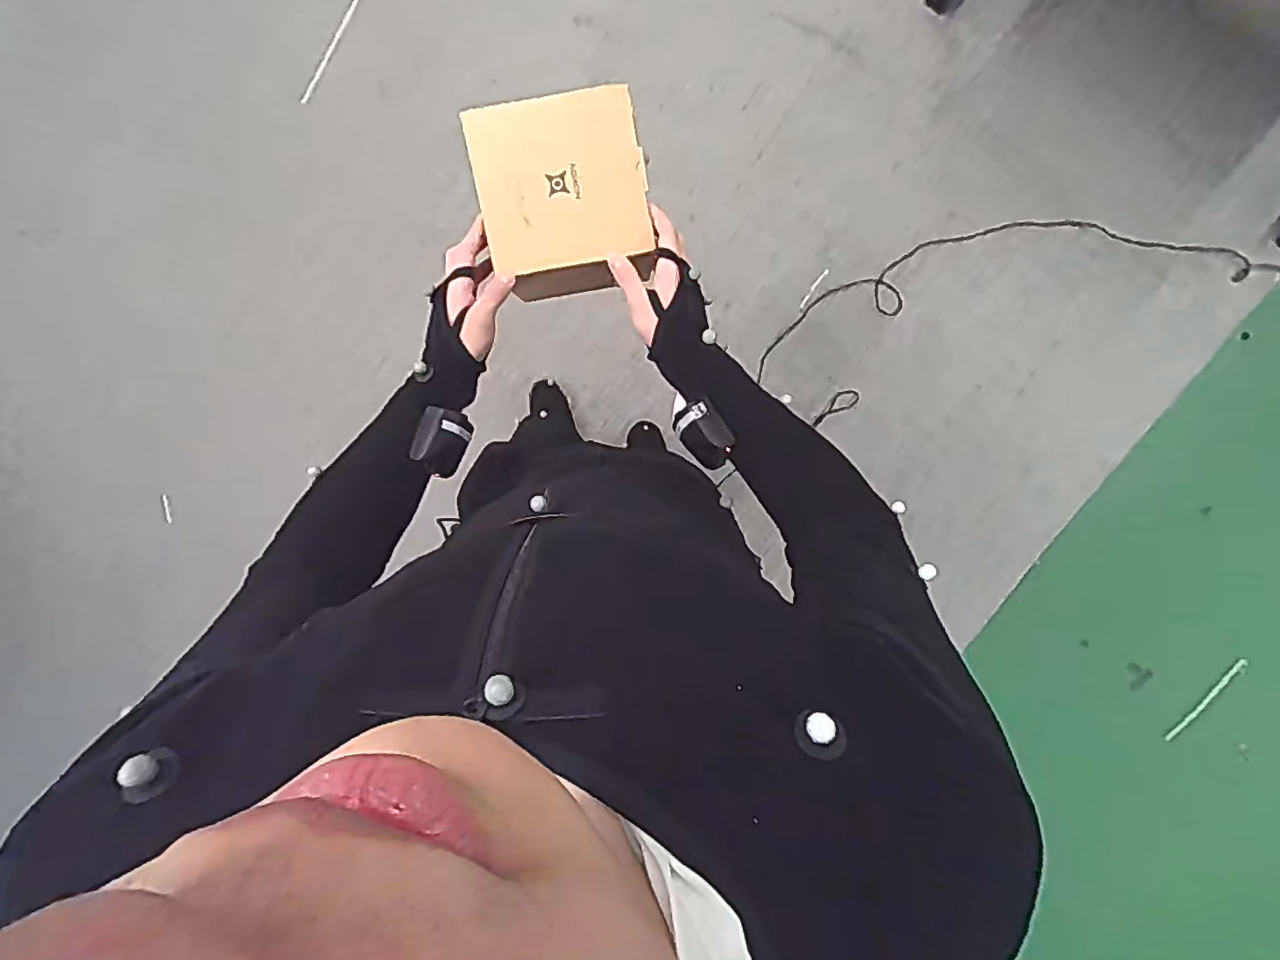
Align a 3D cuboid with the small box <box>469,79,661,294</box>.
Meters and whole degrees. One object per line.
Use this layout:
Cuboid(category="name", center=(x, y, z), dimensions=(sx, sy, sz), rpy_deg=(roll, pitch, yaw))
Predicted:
Cuboid(category="small box", center=(-0.078, -0.324, 0.631), dimensions=(0.179, 0.176, 0.168), rpy_deg=(-9, 100, 0))
